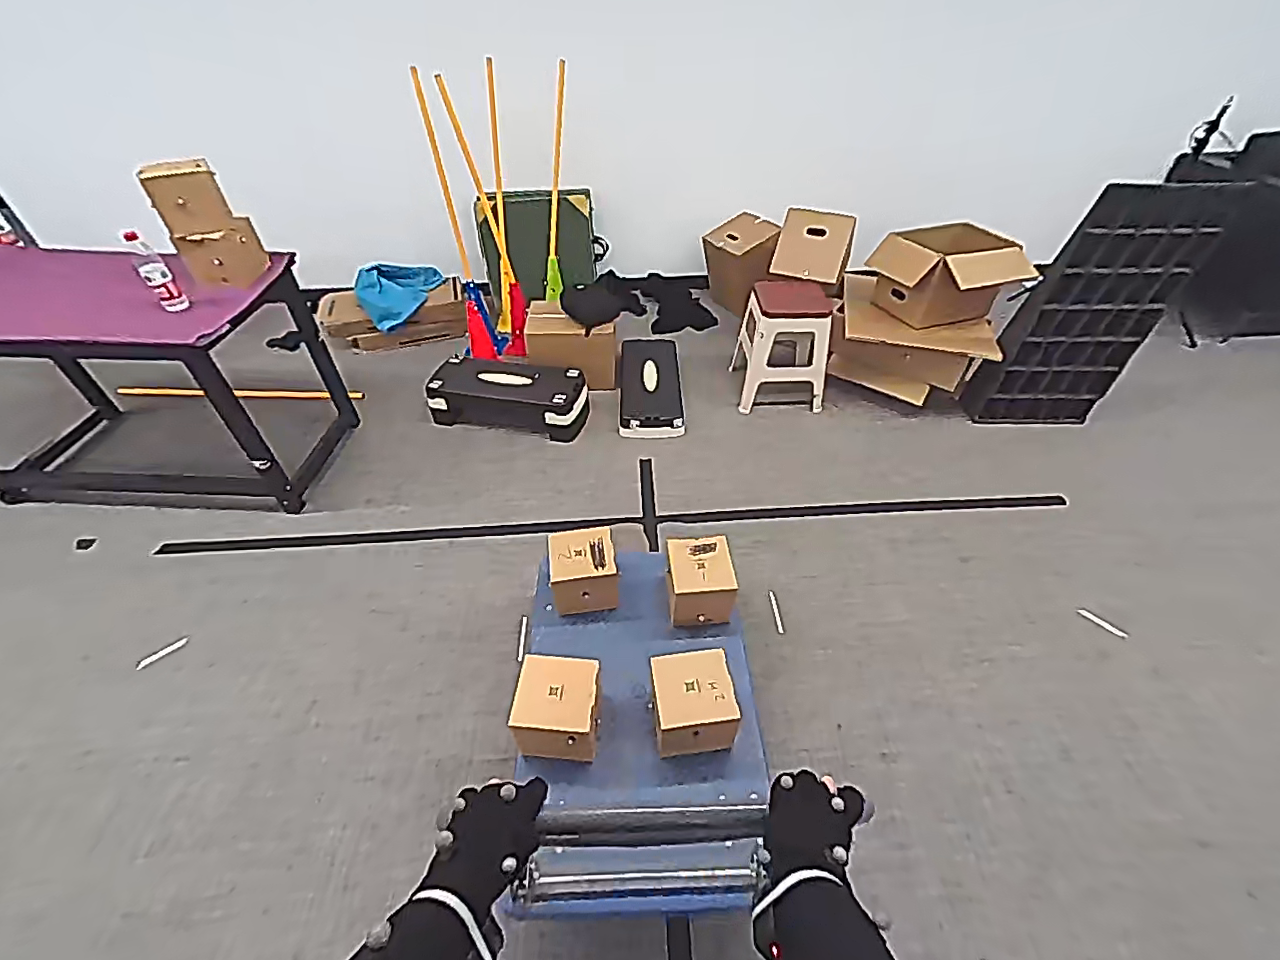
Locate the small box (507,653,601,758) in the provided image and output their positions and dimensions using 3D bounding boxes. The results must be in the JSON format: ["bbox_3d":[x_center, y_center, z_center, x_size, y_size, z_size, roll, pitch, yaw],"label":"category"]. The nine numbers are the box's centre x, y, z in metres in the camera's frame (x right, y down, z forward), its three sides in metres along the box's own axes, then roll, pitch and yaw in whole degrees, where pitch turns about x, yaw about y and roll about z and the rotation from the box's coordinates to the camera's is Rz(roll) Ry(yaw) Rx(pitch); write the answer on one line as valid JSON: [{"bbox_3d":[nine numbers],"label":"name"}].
[{"bbox_3d":[-0.187,0.518,1.238,0.179,0.176,0.168,4,44,2],"label":"small box"}]

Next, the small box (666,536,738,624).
[{"bbox_3d":[0.162,0.274,1.483,0.168,0.176,0.179,-4,46,-3],"label":"small box"}]

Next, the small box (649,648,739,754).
[{"bbox_3d":[0.117,0.511,1.244,0.179,0.176,0.168,-5,45,-5],"label":"small box"}]
